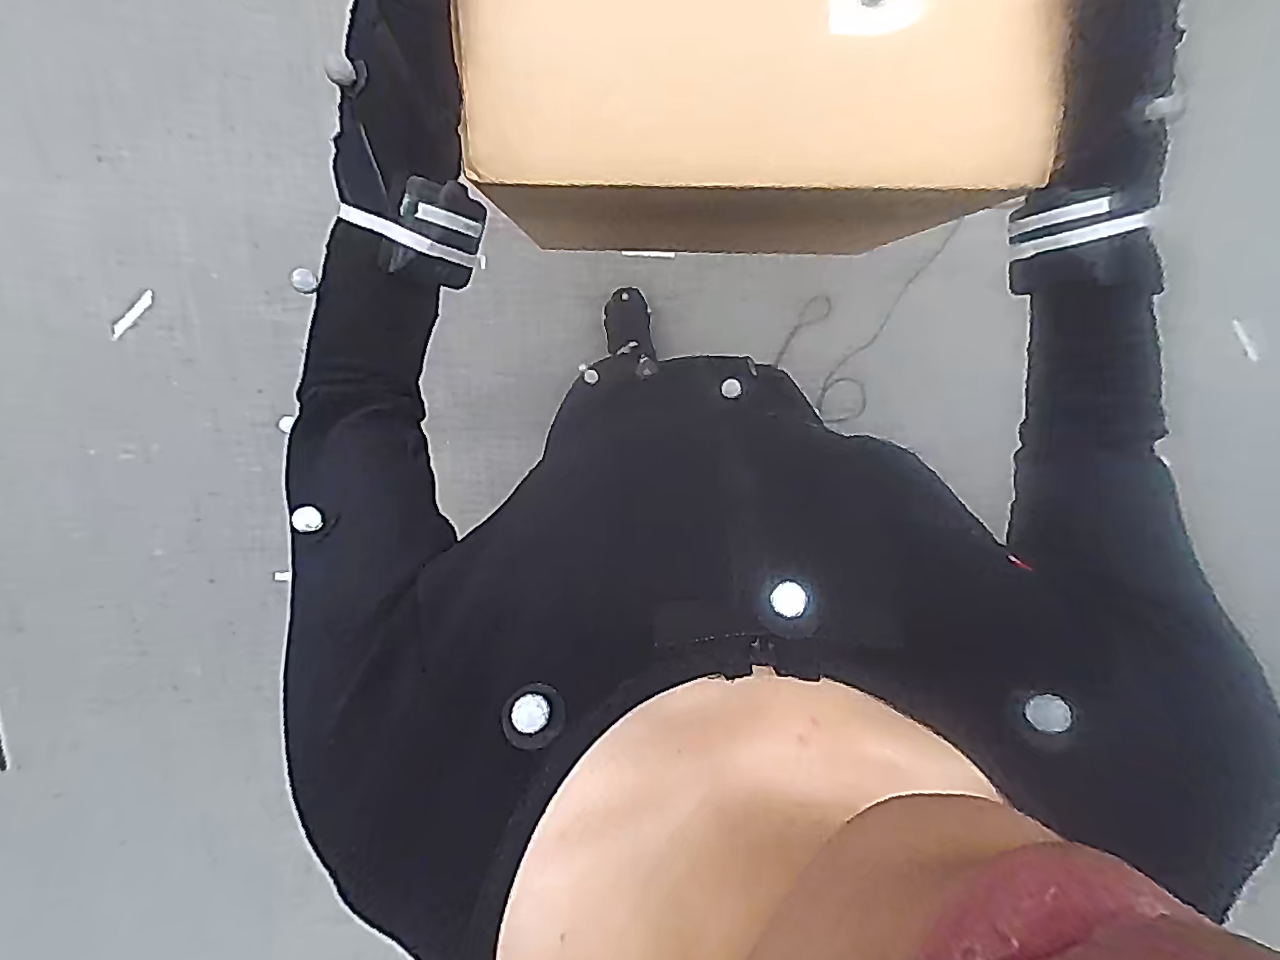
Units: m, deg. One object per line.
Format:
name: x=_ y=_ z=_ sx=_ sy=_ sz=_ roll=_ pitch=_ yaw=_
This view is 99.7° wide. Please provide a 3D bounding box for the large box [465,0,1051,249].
large box: x=0.075 y=-0.405 z=0.496 sx=0.408 sy=0.320 sz=0.320 roll=0 pitch=105 yaw=-2
